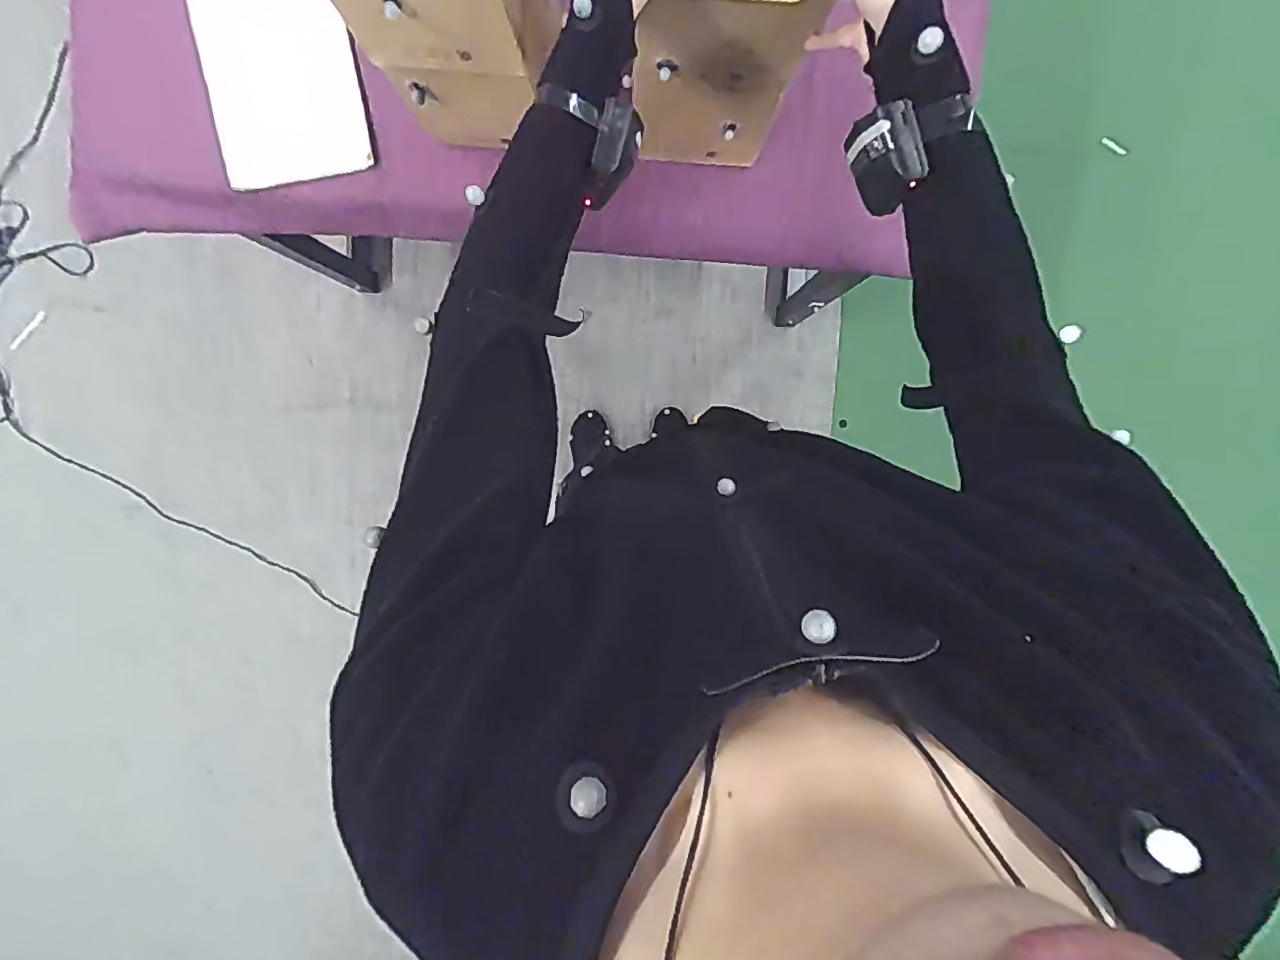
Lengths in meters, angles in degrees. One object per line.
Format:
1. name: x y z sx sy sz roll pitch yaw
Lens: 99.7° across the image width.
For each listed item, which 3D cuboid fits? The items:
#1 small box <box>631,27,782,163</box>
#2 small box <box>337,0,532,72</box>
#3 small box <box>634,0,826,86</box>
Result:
1. small box: 0.079 -0.513 0.650 0.168 0.176 0.179 4 94 -1
2. small box: -0.191 -0.512 0.485 0.168 0.176 0.179 5 94 0
3. small box: 0.083 -0.485 0.473 0.168 0.176 0.179 4 98 -2
